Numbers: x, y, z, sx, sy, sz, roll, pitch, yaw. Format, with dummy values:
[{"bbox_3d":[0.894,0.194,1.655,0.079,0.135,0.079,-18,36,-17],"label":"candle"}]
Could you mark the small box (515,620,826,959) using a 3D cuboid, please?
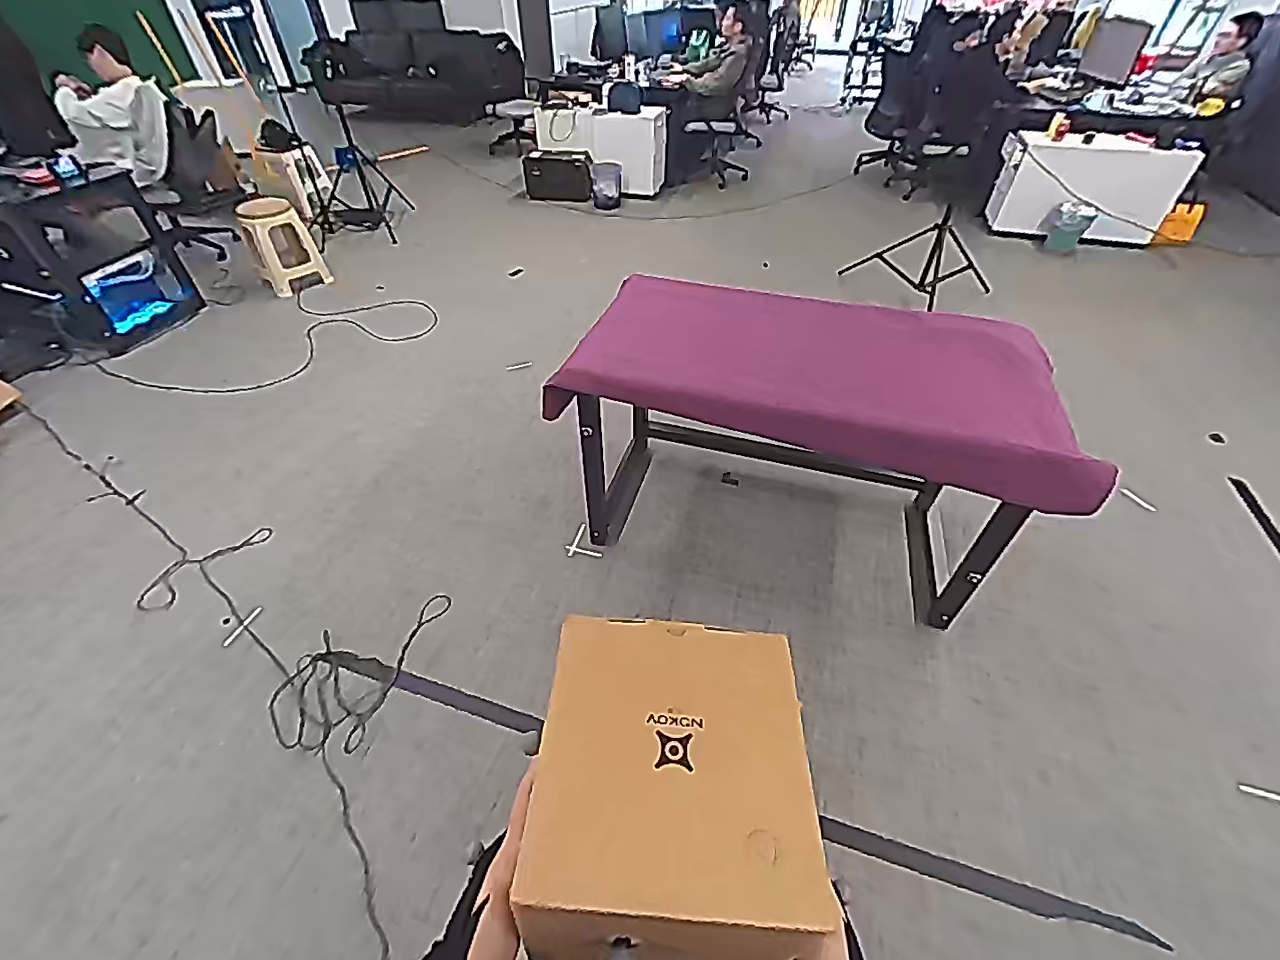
[{"bbox_3d":[0.016,0.228,0.391,0.168,0.176,0.179,5,39,0],"label":"small box"}]
